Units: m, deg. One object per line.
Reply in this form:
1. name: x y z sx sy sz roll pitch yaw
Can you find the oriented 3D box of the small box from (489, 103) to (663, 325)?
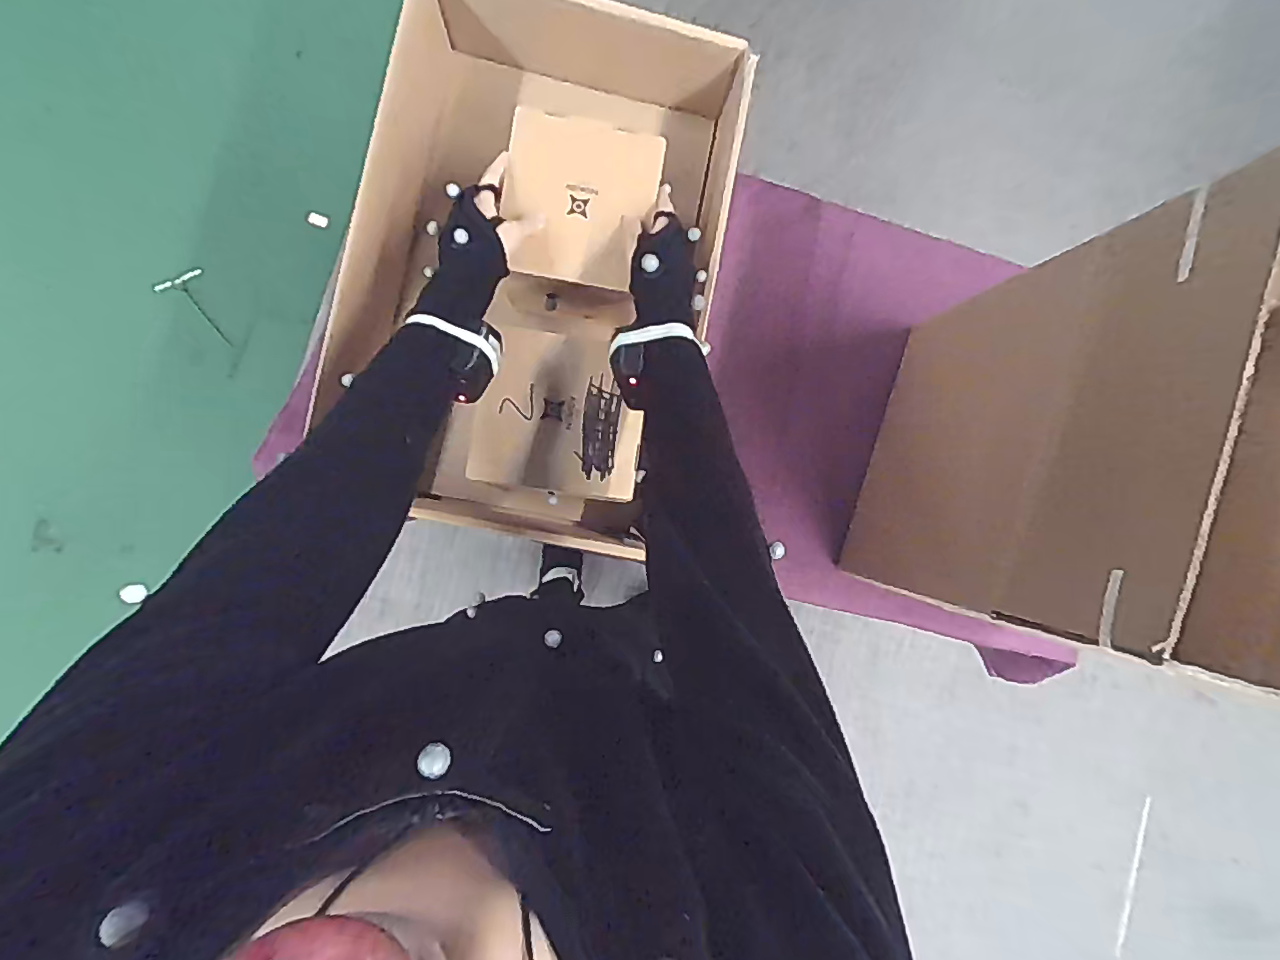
1. small box: -0.074 -0.304 0.660 0.168 0.176 0.179 9 90 -5
